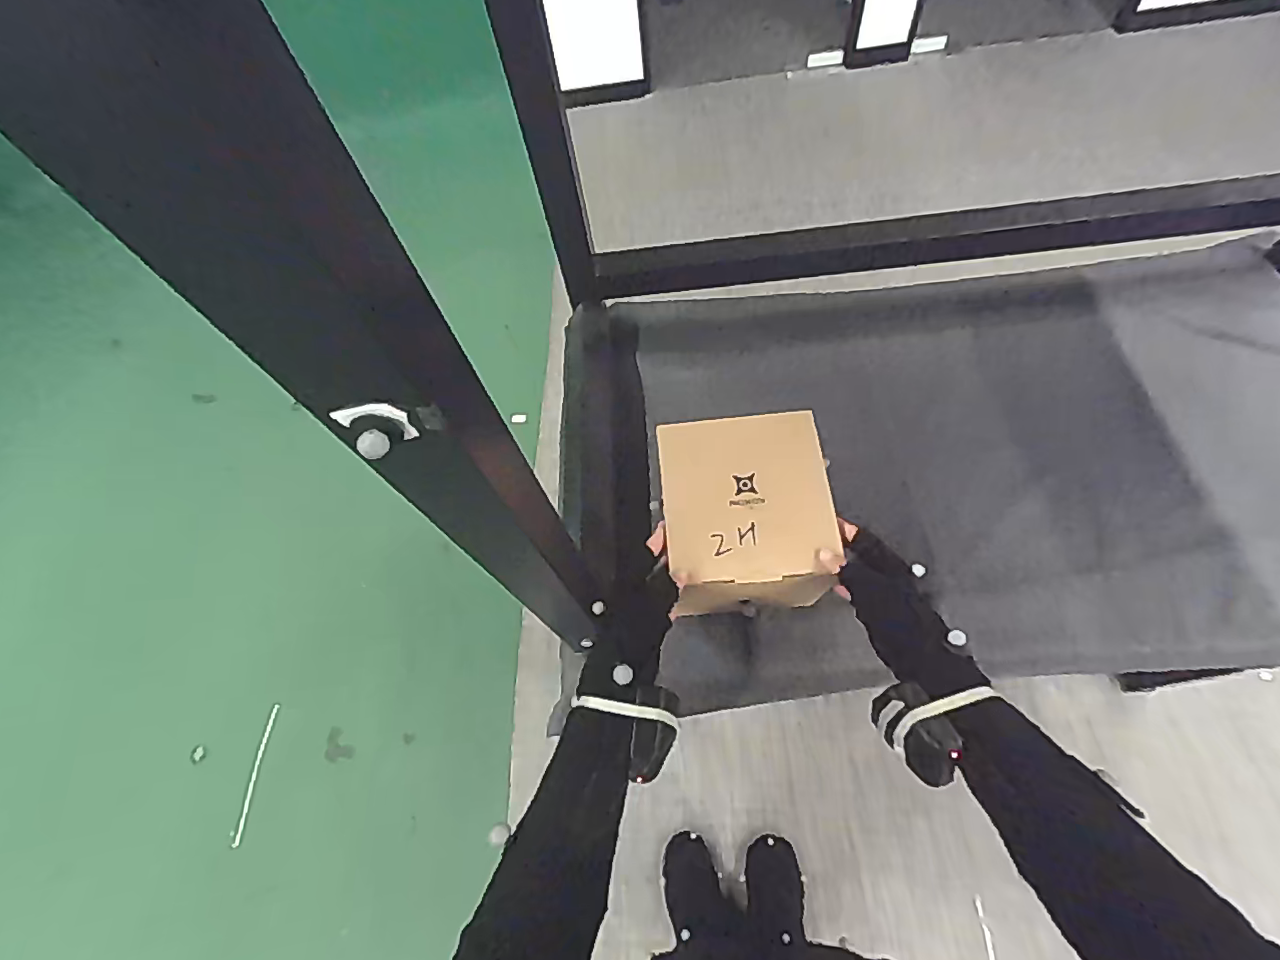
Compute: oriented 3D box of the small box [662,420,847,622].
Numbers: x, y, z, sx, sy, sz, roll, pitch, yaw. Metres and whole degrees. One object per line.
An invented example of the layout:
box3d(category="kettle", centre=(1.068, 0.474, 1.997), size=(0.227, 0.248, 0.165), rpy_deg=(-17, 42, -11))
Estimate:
box3d(category="small box", centre=(0.114, 0.054, 0.612), size=(0.168, 0.176, 0.179), rpy_deg=(-6, 65, 4))
